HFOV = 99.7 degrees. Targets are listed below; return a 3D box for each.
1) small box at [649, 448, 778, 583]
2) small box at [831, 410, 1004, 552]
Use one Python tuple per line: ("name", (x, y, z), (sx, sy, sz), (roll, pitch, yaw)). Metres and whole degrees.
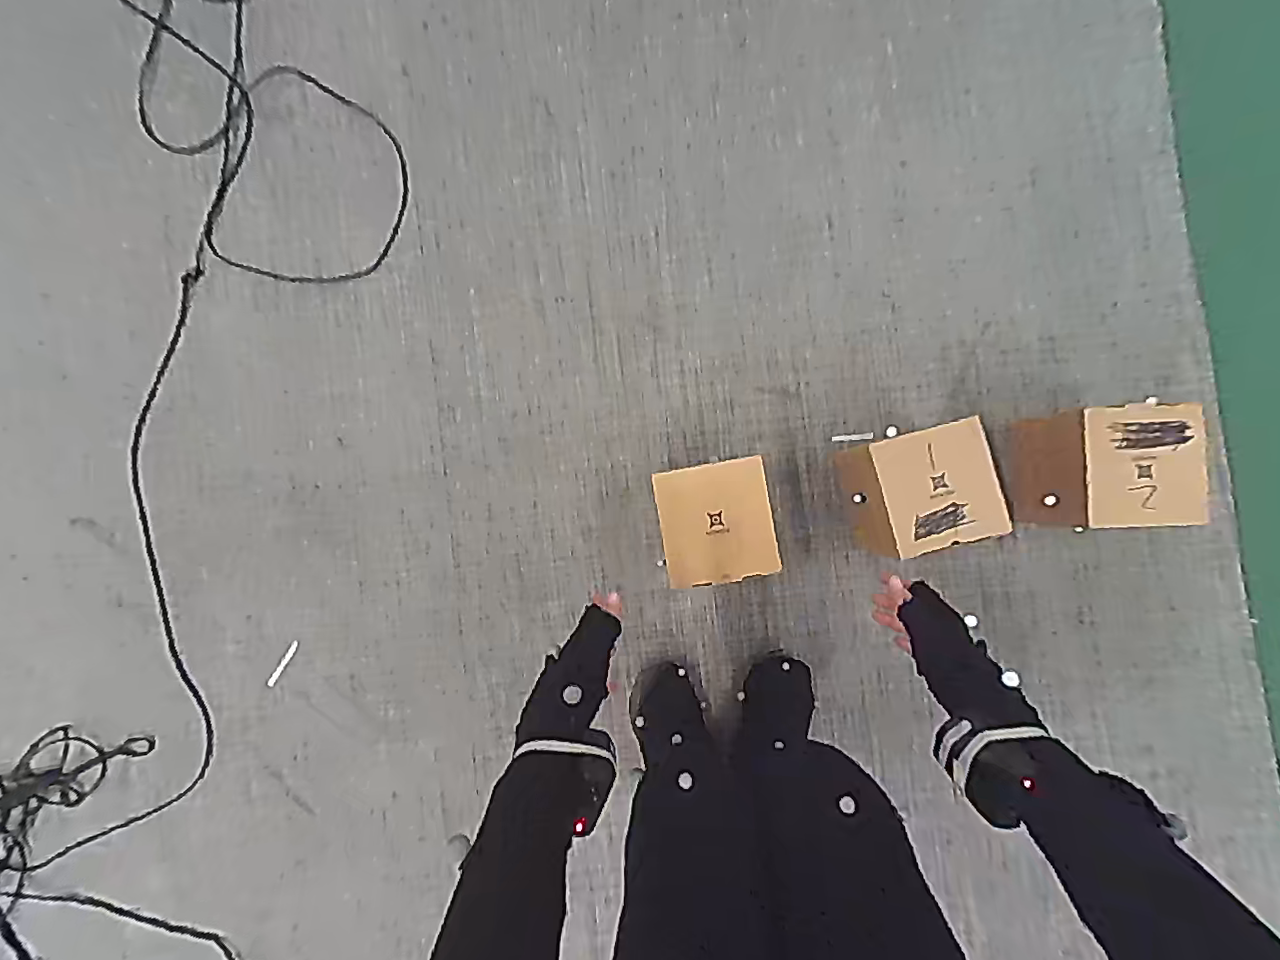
("small box", (0.109, 0.054, 0.866), (0.168, 0.176, 0.179), (-11, 89, 3))
("small box", (0.422, 0.003, 0.852), (0.168, 0.176, 0.179), (-15, 87, 2))
